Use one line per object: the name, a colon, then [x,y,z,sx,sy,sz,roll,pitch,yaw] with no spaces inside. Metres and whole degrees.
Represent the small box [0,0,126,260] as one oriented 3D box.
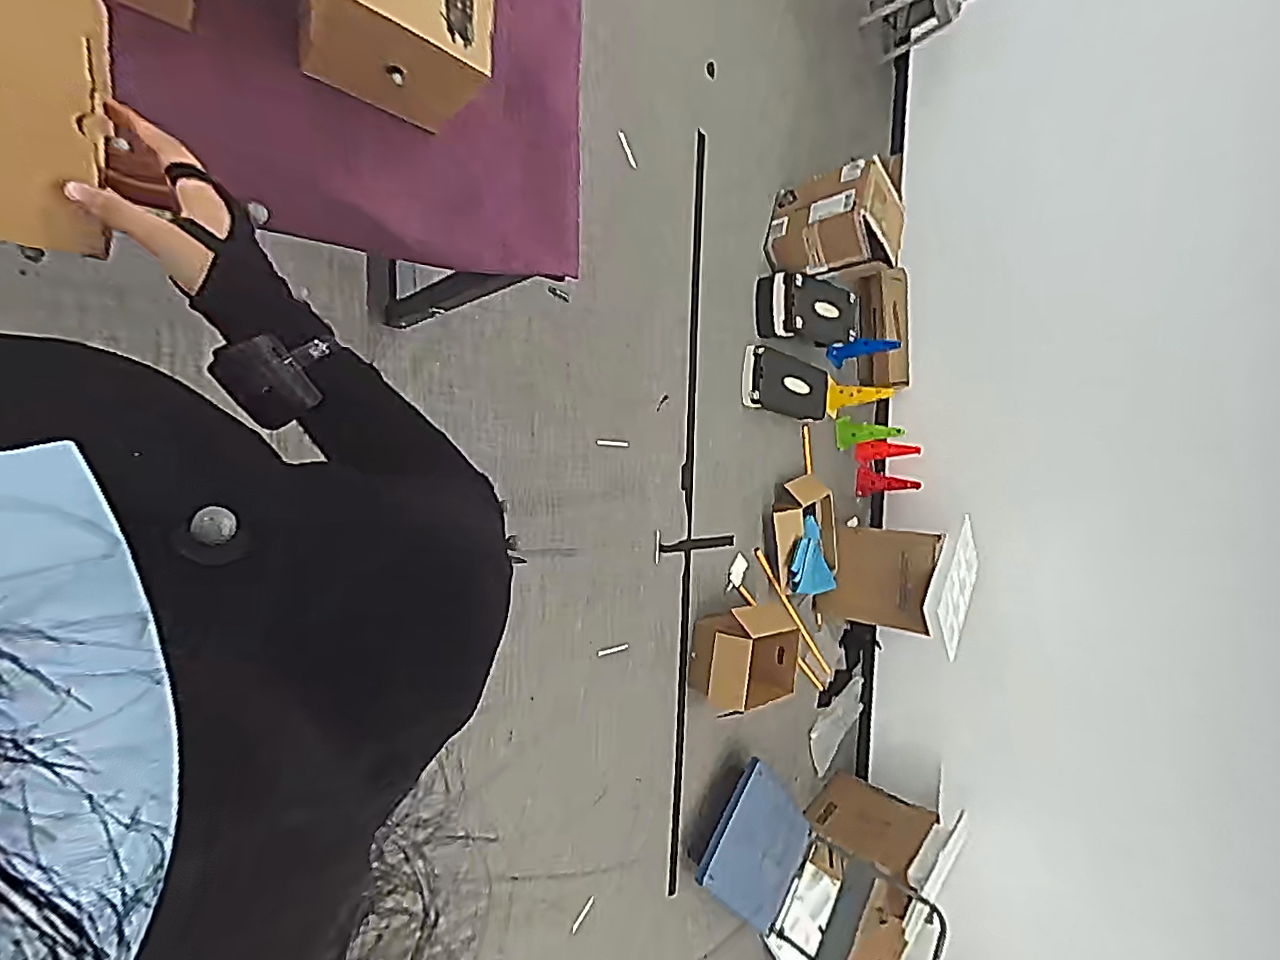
small box: [-0.460,-0.260,0.352,0.179,0.176,0.168,-3,118,-43]
